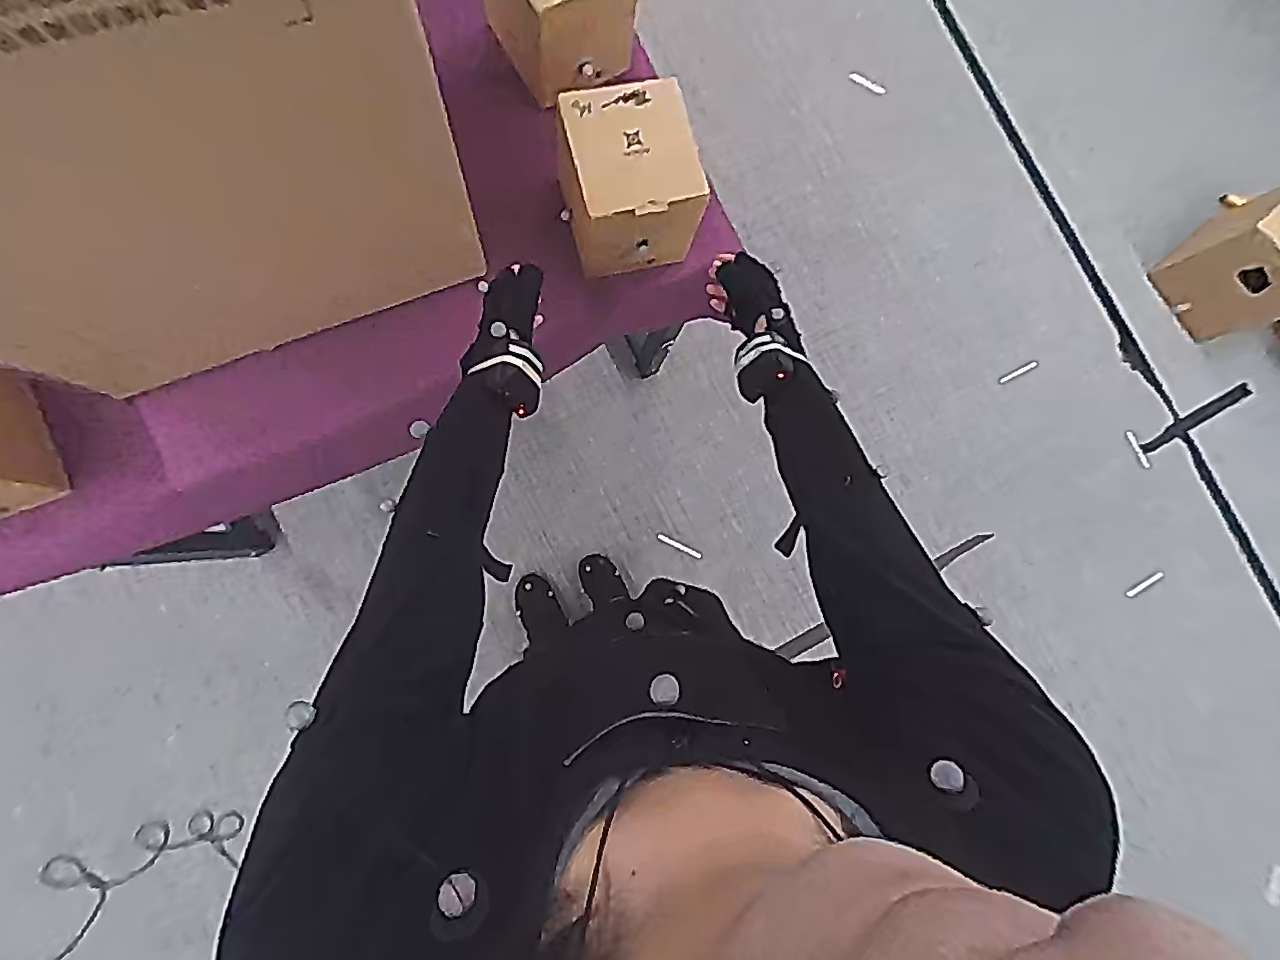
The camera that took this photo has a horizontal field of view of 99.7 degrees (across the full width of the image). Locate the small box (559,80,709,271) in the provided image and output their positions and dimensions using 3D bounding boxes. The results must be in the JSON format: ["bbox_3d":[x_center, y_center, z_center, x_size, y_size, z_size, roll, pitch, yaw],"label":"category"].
[{"bbox_3d":[-0.017,-0.422,0.780,0.168,0.176,0.179,-14,86,-10],"label":"small box"}]

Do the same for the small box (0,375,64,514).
[{"bbox_3d":[-0.833,-0.040,0.615,0.168,0.176,0.179,-24,85,-14],"label":"small box"}]
